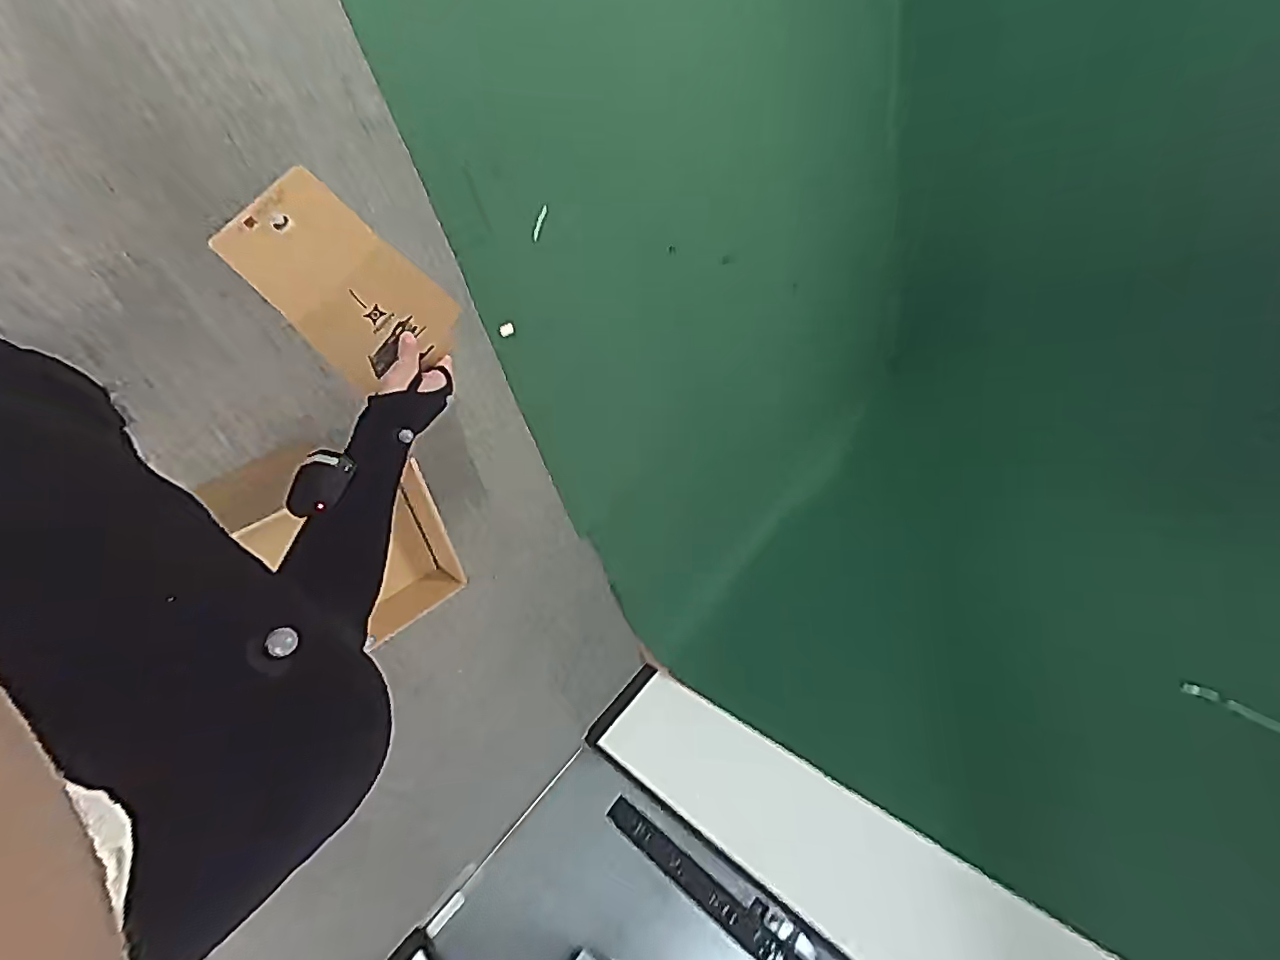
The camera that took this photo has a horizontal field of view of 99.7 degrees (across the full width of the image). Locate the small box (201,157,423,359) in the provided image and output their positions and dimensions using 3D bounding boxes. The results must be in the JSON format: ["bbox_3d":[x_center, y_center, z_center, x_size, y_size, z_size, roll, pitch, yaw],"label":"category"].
[{"bbox_3d":[-0.459,-0.312,0.780,0.168,0.176,0.179,-48,176,-6],"label":"small box"}]
